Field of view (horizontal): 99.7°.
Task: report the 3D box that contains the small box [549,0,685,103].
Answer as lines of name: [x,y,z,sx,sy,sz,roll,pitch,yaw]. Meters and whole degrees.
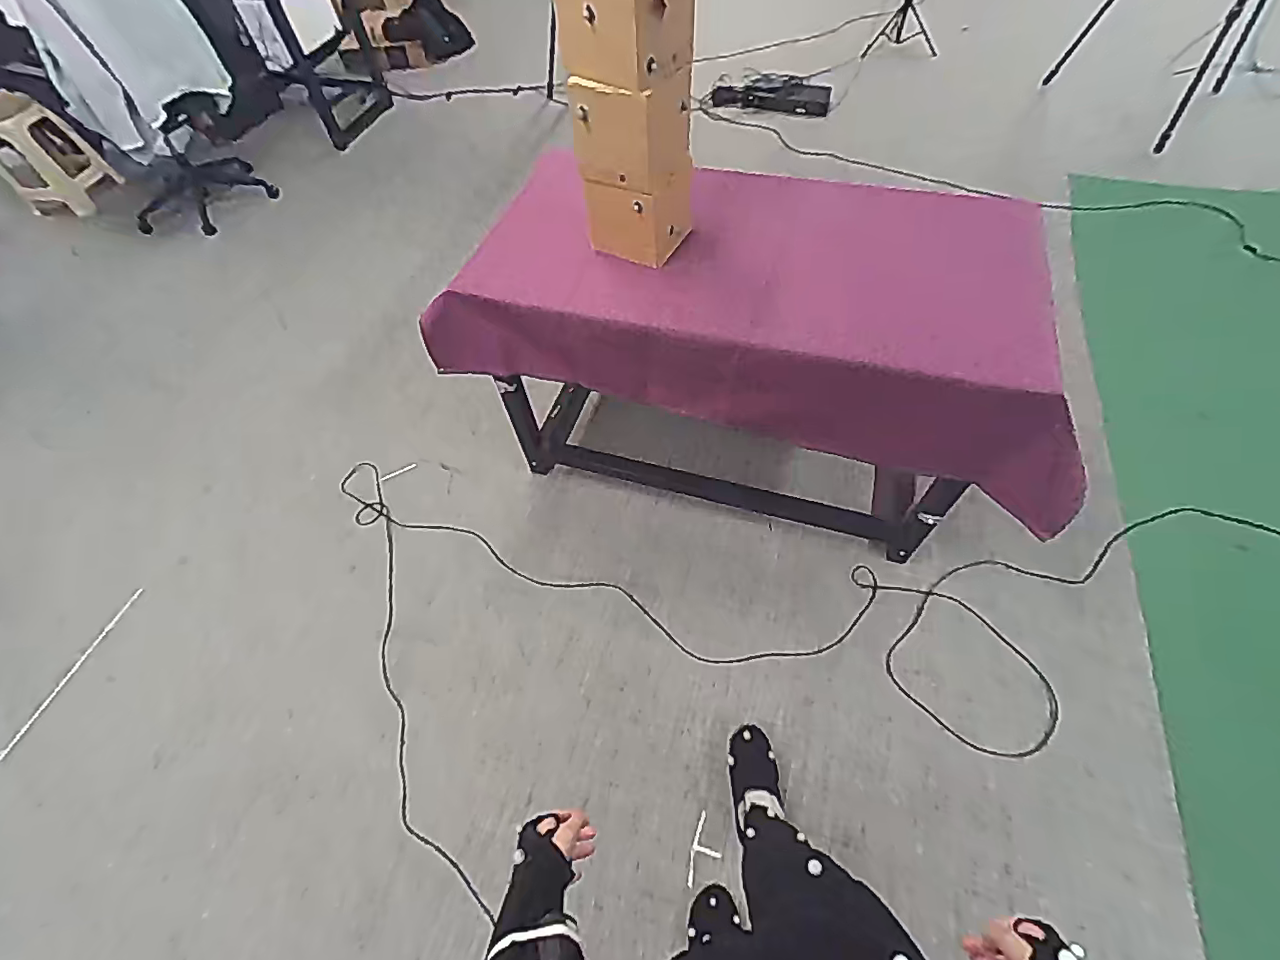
small box: [-0.032,-0.785,0.937,0.179,0.176,0.168,30,62,22]

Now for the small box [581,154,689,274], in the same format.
small box: [-0.006,-0.585,1.197,0.179,0.176,0.168,23,60,18]
